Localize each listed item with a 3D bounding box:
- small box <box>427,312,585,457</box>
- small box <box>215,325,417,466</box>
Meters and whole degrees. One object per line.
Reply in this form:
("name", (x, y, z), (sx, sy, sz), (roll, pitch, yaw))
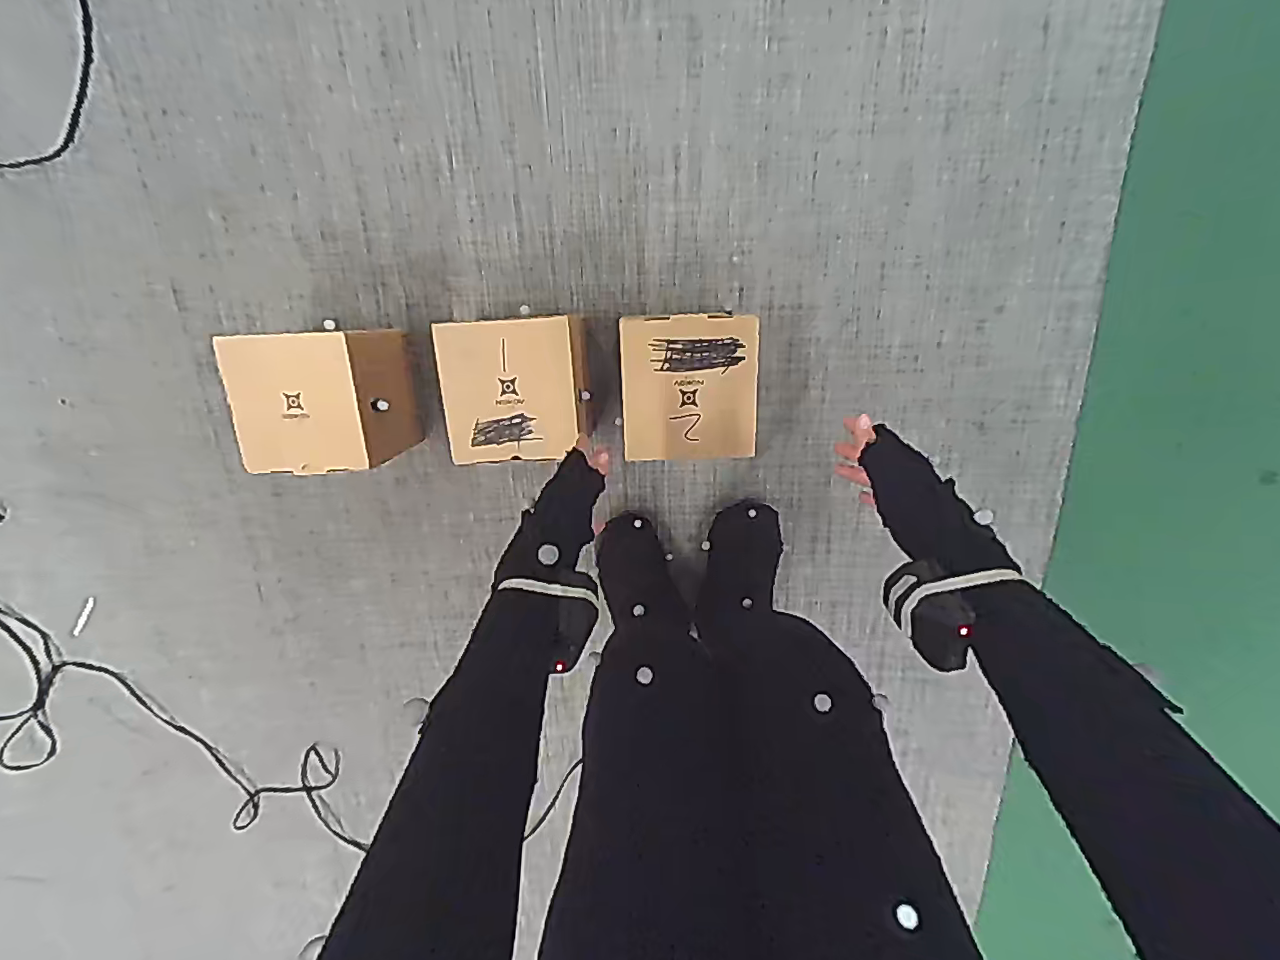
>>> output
("small box", (-0.171, -0.138, 0.749), (0.168, 0.176, 0.179), (-2, 107, 2))
("small box", (-0.436, -0.126, 0.761), (0.168, 0.176, 0.179), (-2, 108, 2))
